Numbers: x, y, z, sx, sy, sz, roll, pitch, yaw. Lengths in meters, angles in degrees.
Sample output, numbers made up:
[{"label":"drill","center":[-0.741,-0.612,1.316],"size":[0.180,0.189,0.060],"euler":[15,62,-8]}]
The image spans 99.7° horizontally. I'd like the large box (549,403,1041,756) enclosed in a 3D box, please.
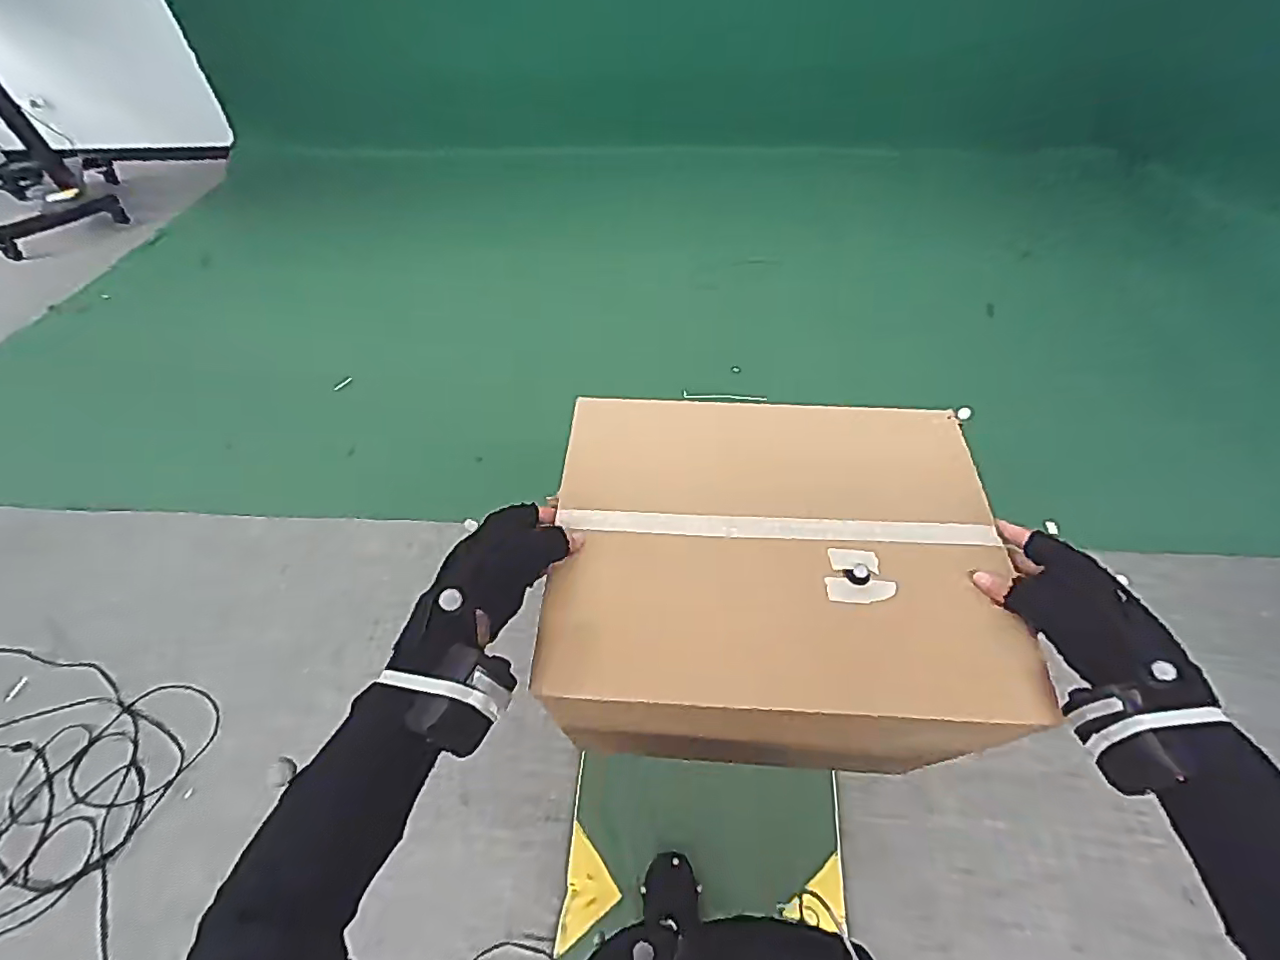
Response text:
[{"label":"large box","center":[0.127,0.129,0.638],"size":[0.408,0.320,0.320],"euler":[2,57,2]}]
